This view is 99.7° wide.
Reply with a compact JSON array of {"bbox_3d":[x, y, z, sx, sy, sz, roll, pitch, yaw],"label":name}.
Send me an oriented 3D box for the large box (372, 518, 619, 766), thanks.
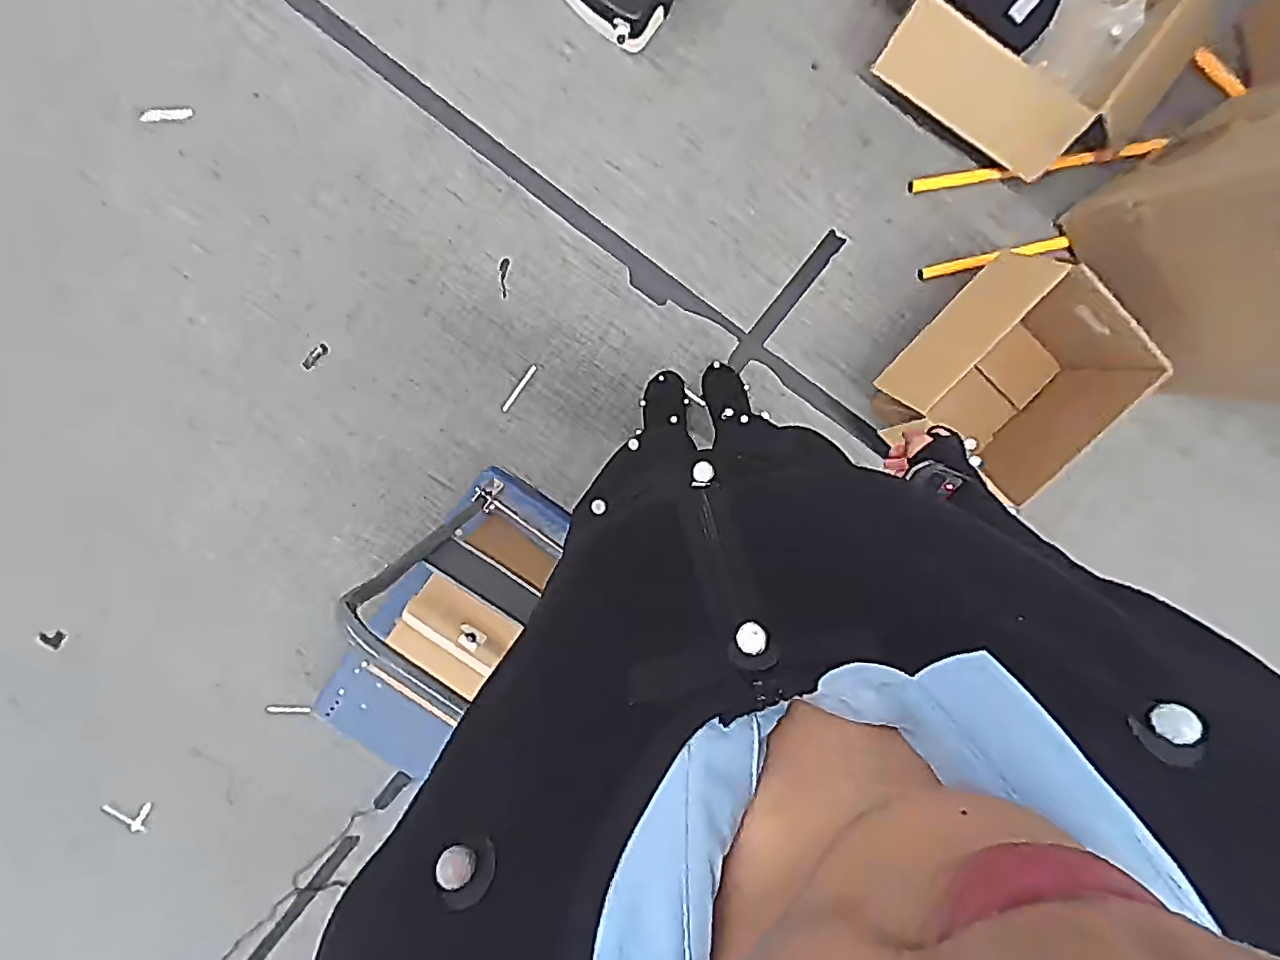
[{"bbox_3d":[-0.306,0.354,1.262,0.408,0.320,0.320,38,100,-5],"label":"large box"}]
